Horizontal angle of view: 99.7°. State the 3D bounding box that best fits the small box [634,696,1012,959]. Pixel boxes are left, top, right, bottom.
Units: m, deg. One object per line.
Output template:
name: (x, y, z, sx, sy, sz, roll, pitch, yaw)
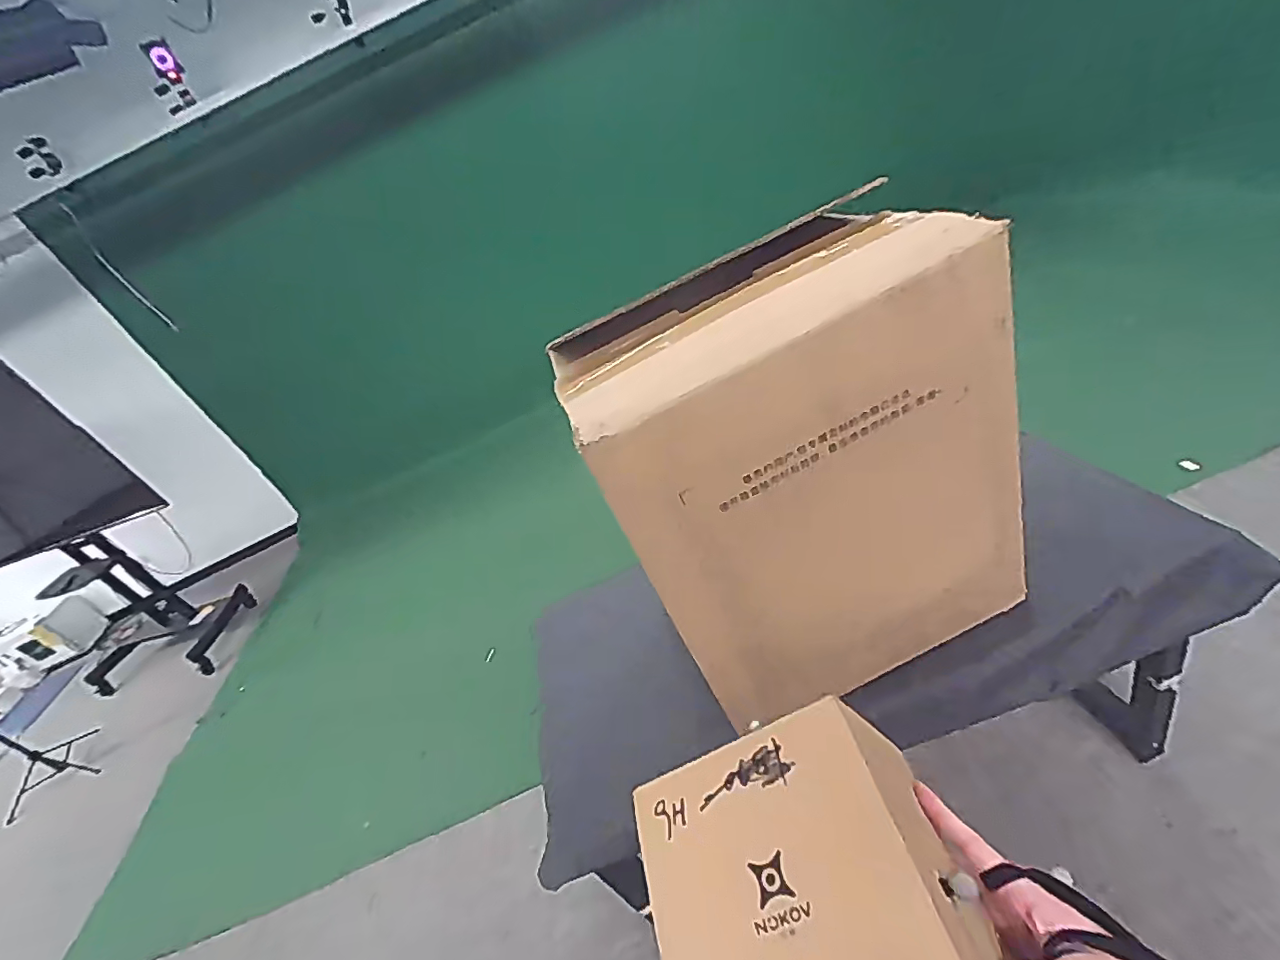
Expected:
small box: (0.124, 0.280, 0.367, 0.168, 0.176, 0.179, -34, 43, 15)
